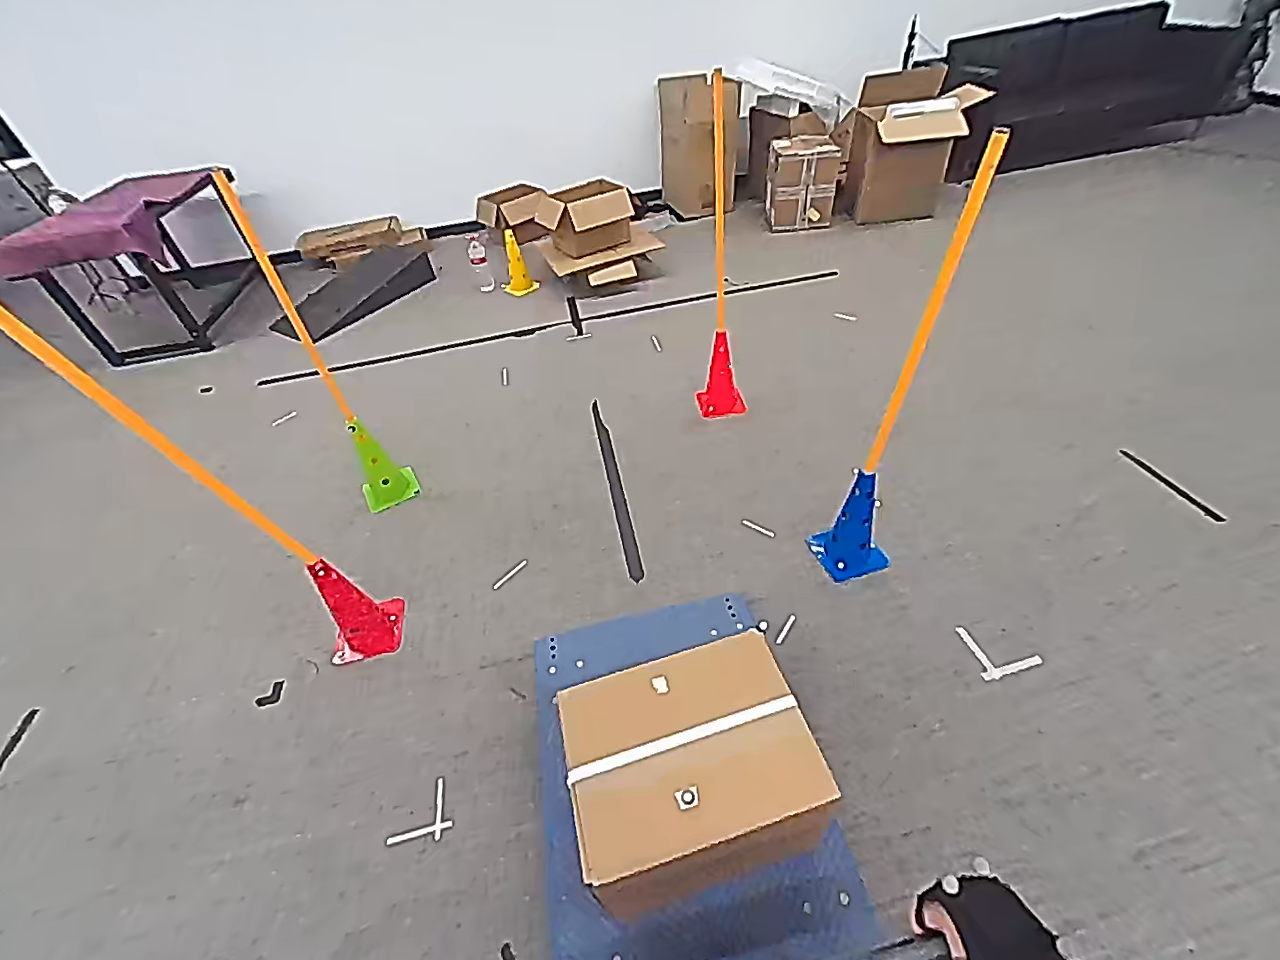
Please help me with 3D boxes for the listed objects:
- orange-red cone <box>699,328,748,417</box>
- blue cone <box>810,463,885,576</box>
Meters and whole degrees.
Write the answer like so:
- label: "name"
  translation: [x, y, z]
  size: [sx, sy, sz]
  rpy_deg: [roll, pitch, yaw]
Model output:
- label: "orange-red cone"
  translation: [0.354, -0.473, 2.290]
  size: [0.199, 0.360, 0.198]
  rpy_deg: [-7, 44, -1]
- label: "blue cone"
  translation: [0.663, 0.107, 1.658]
  size: [0.193, 0.380, 0.192]
  rpy_deg: [-15, 43, -8]
